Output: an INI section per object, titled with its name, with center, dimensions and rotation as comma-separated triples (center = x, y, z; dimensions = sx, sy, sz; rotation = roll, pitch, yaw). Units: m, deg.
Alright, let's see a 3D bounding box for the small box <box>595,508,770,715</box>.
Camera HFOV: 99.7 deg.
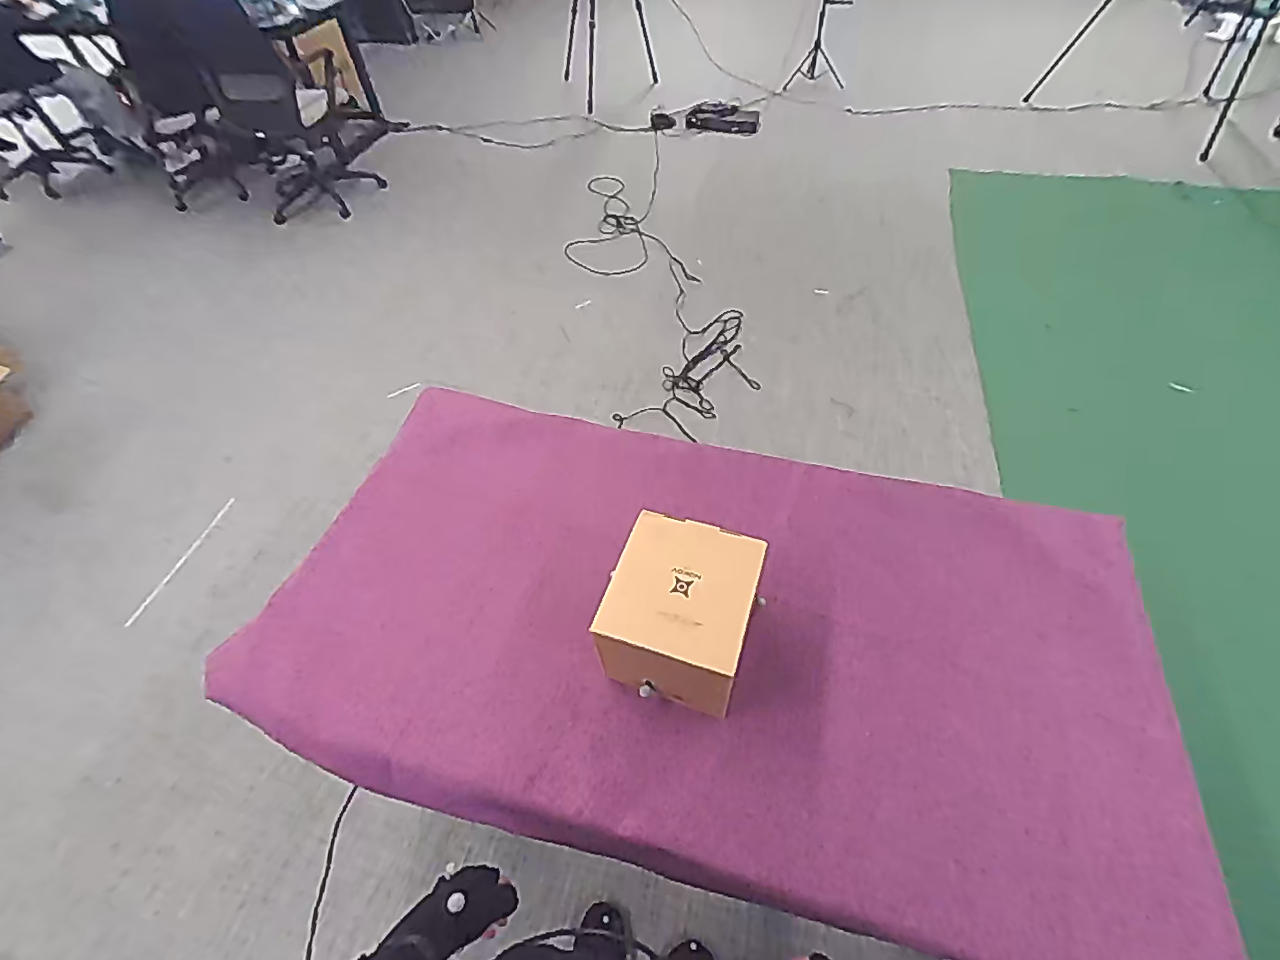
[small box]
center = 0.057, 0.168, 0.688
dimensions = 0.168, 0.176, 0.179
rotation = 14, 55, 15
